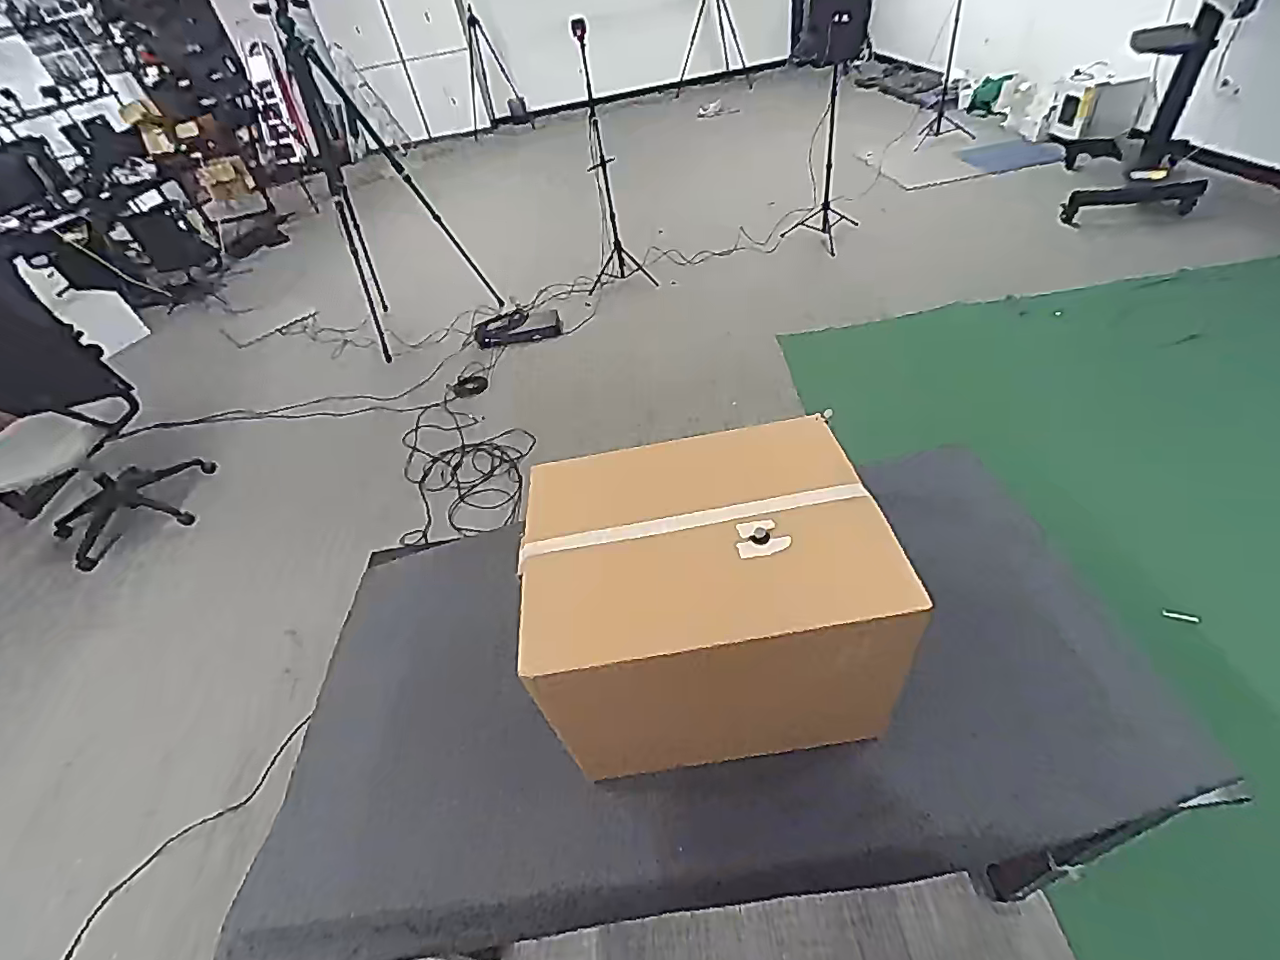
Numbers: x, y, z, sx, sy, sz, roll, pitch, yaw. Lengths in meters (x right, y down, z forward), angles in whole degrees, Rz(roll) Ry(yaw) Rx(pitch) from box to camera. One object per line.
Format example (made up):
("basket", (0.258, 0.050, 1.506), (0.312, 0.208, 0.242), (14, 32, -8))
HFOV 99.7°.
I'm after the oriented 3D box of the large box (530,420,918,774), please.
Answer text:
("large box", (0.086, 0.161, 0.745), (0.408, 0.320, 0.320), (-10, 44, 1))
